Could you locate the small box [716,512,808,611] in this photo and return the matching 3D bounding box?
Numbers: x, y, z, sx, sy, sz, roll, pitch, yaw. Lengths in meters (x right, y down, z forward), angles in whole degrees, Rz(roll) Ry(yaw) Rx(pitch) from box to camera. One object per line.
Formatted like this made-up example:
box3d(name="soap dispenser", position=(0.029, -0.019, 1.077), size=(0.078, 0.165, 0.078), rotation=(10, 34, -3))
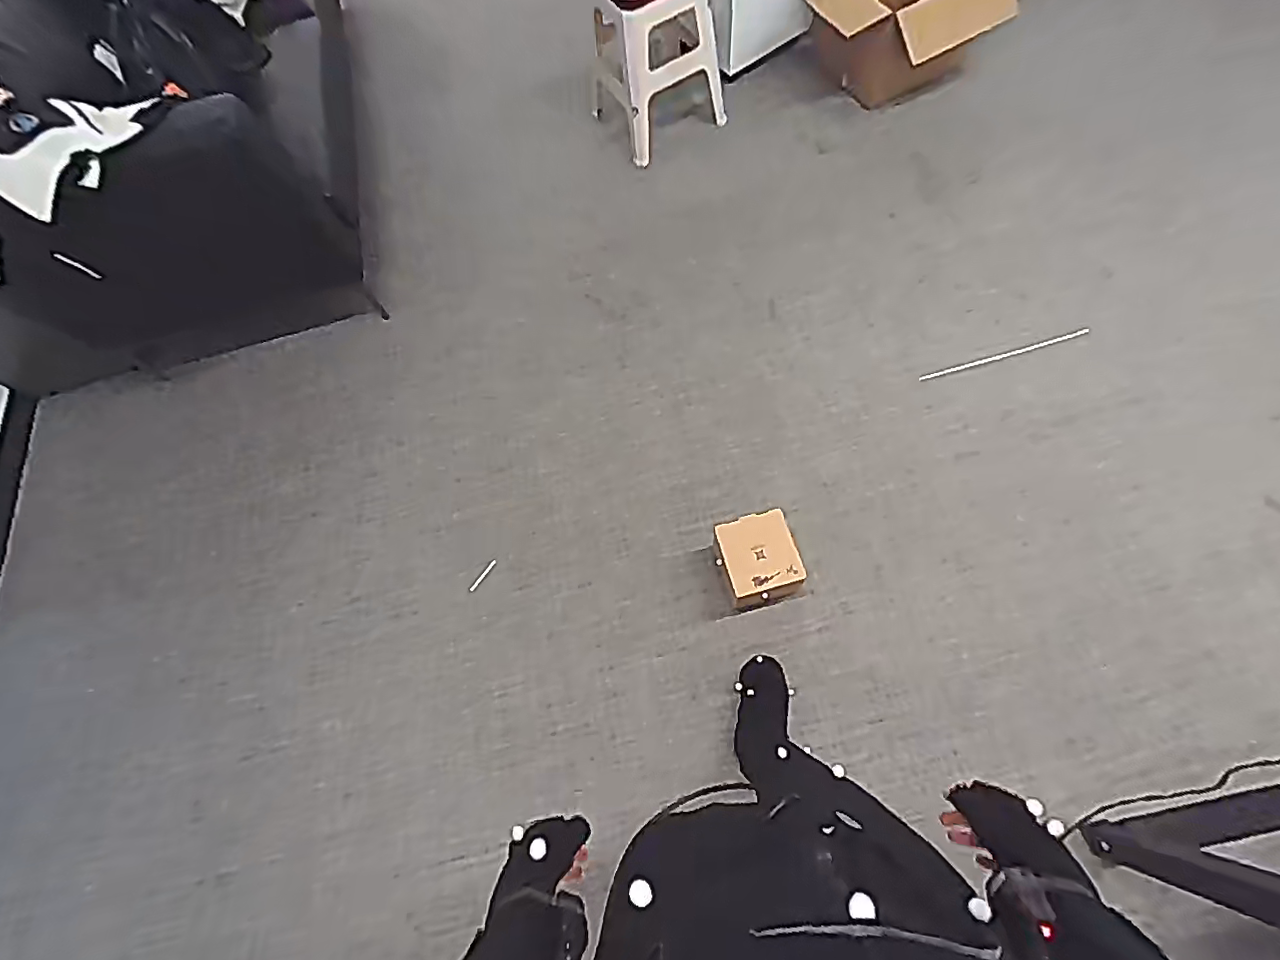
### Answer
box3d(name="small box", position=(0.285, 0.201, 1.309), size=(0.168, 0.176, 0.179), rotation=(-16, 66, 1))
